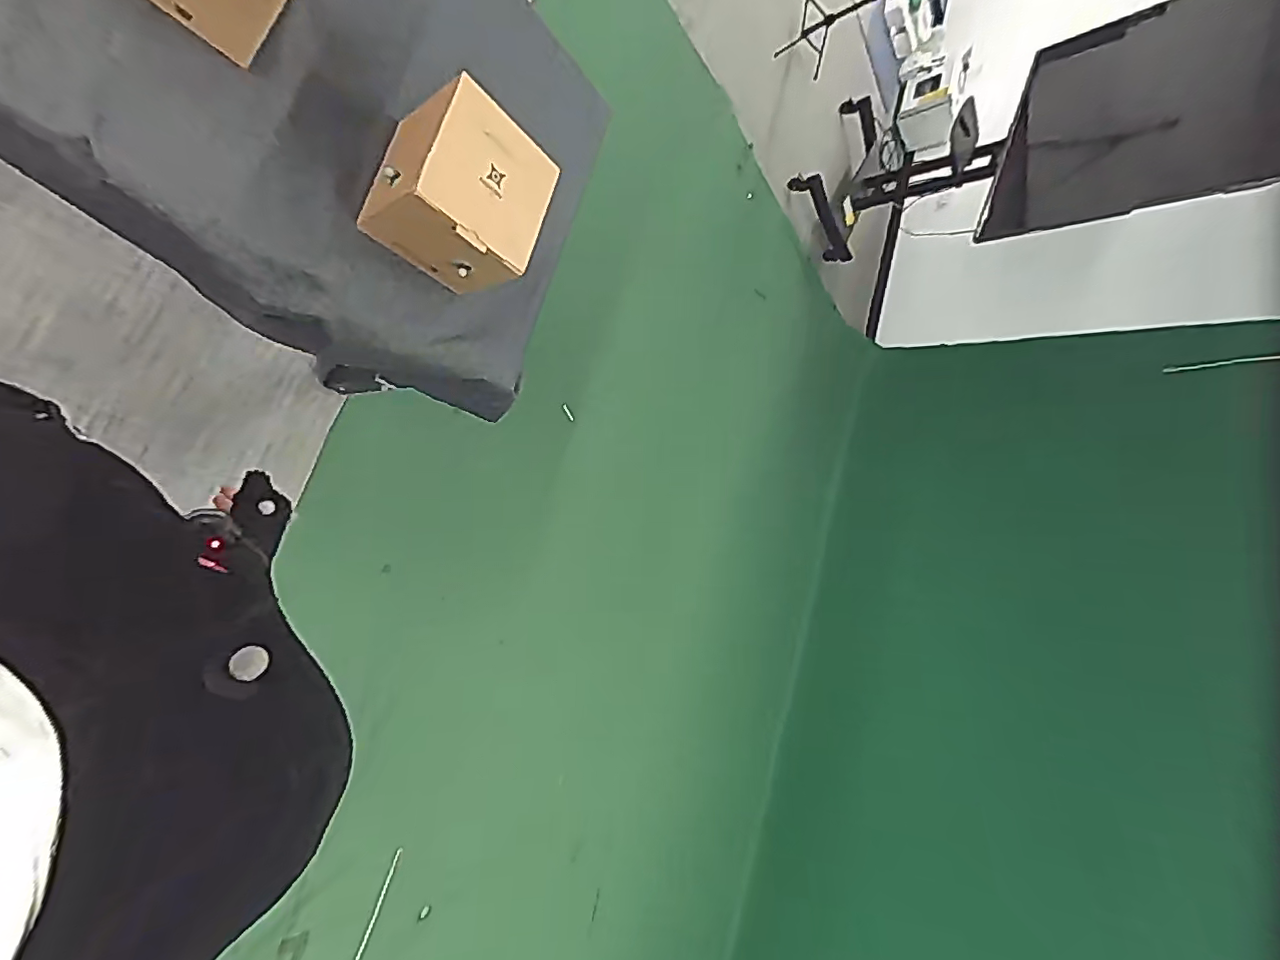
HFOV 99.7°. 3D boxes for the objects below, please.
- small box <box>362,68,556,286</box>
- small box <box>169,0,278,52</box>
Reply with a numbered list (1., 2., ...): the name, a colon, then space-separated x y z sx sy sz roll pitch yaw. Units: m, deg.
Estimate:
1. small box: -0.248 -0.391 0.738 0.168 0.176 0.179 27 73 -48
2. small box: -0.421 -0.573 0.516 0.168 0.176 0.179 24 75 -48
